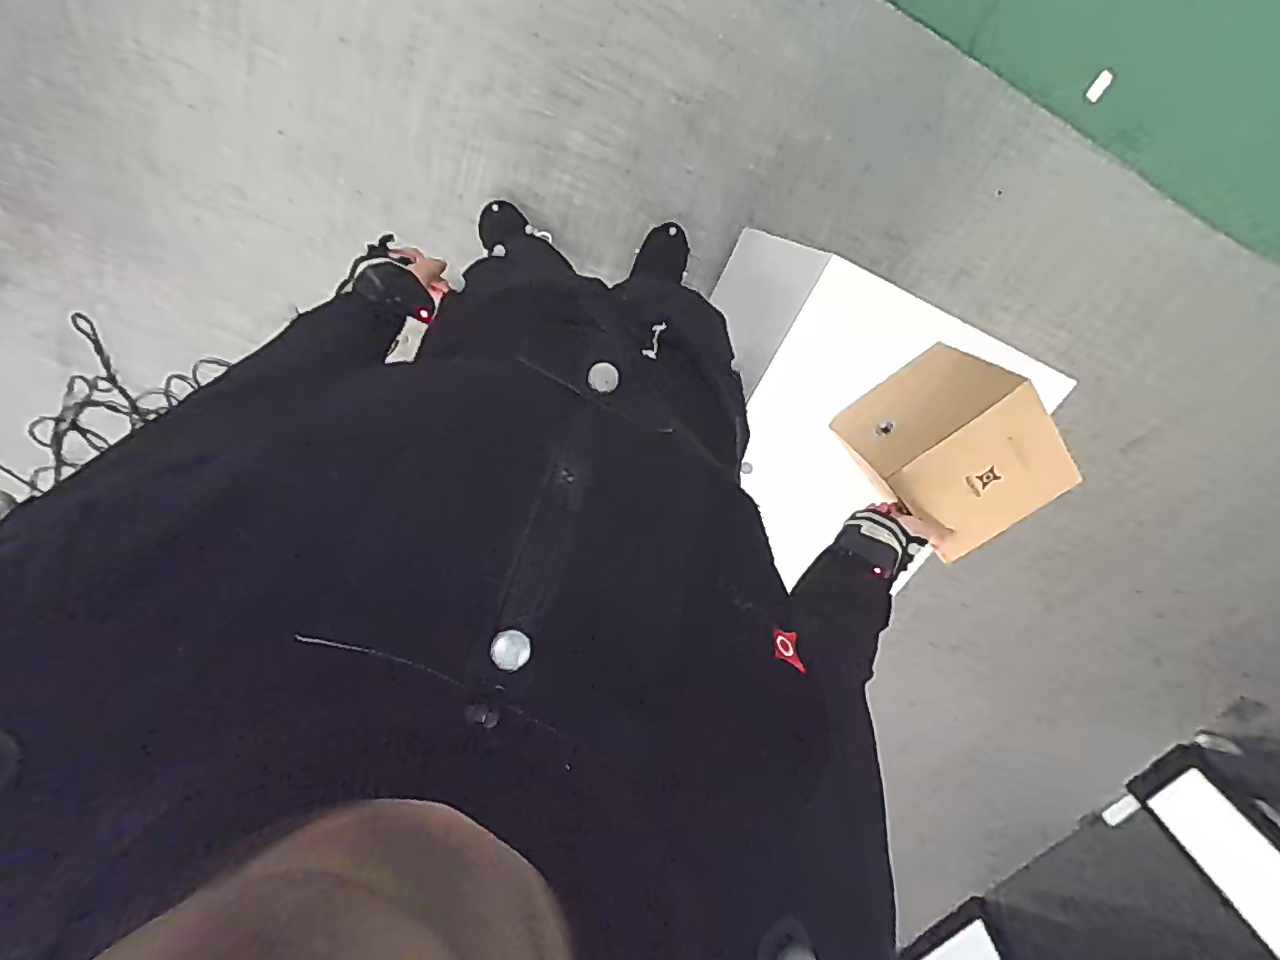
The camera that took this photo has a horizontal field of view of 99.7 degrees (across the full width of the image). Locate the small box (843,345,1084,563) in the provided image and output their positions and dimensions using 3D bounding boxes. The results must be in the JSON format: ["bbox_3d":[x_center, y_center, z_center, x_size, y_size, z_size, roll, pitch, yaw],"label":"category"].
[{"bbox_3d":[0.381,-0.038,0.673,0.179,0.176,0.168,-39,115,13],"label":"small box"}]
